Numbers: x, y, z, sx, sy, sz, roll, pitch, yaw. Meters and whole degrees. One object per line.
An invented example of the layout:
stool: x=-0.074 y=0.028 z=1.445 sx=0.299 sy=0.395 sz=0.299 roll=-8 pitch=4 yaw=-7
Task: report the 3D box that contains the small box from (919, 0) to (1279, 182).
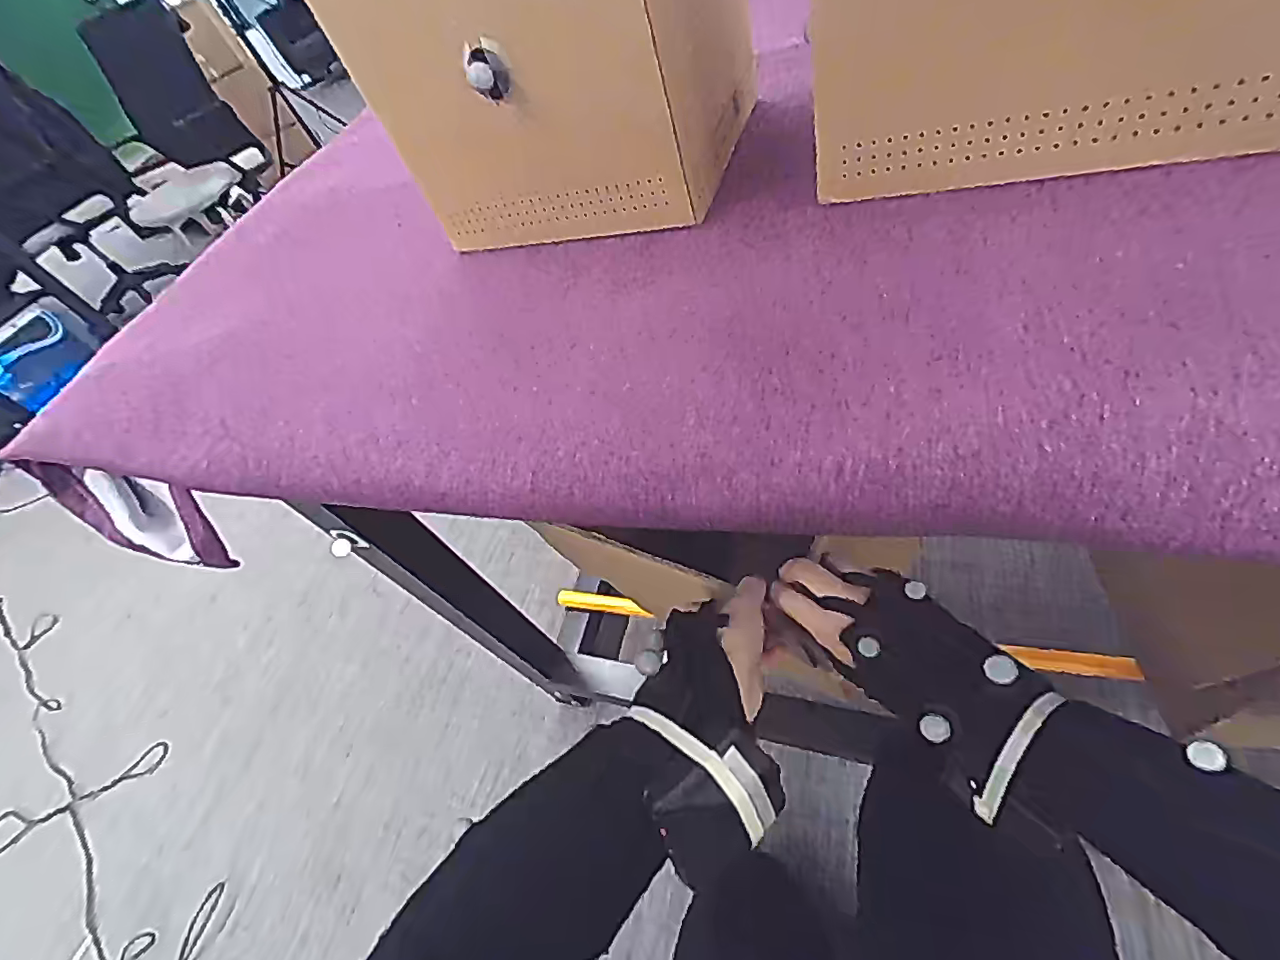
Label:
small box: x=0.216 y=-0.252 z=0.189 sx=0.179 sy=0.176 sz=0.168 roll=-15 pitch=89 yaw=15
